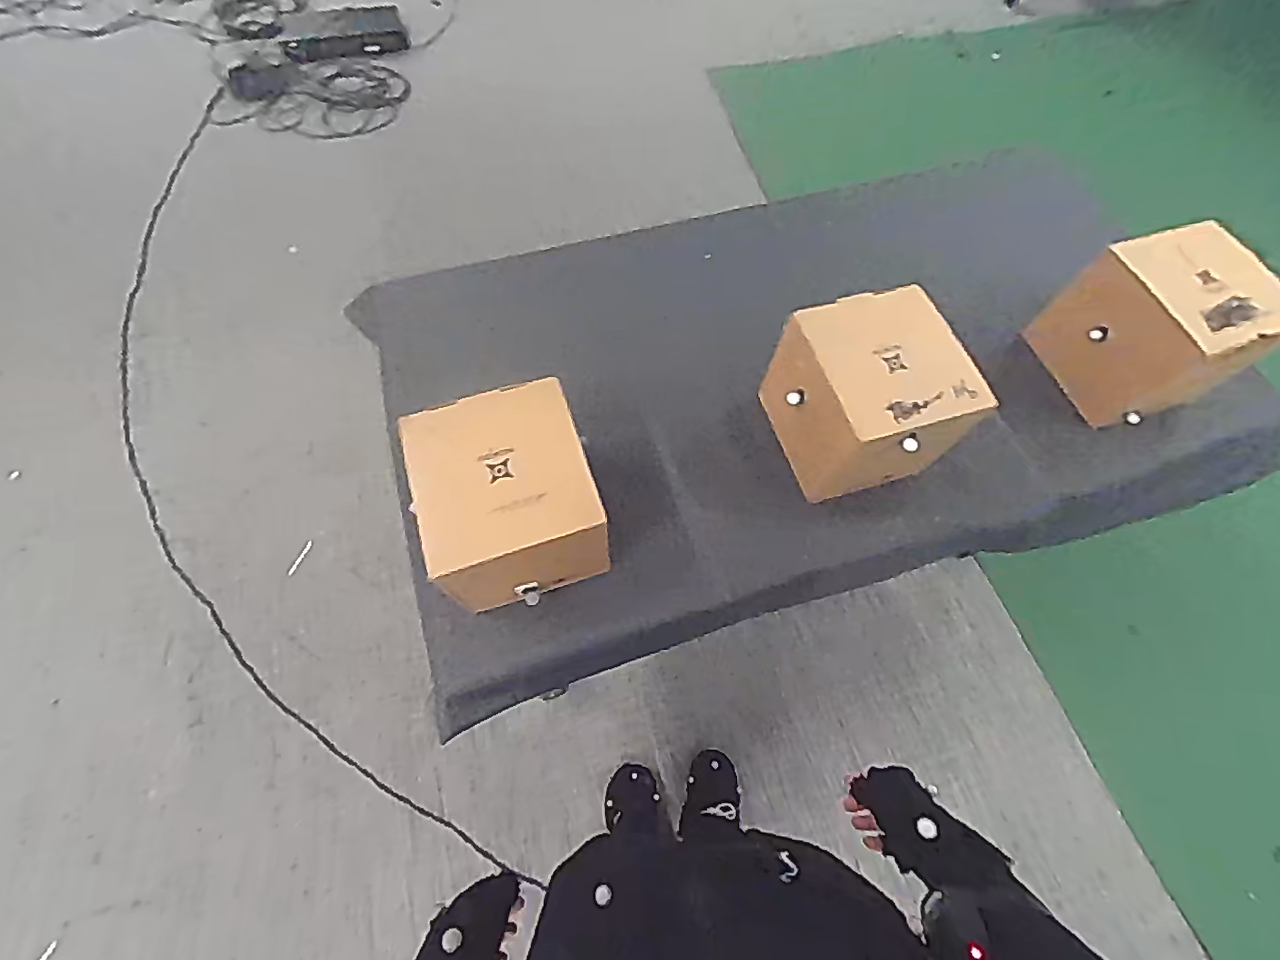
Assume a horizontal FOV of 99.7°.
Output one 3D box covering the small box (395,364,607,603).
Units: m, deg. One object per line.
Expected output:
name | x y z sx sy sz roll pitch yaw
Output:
small box | -0.137 0.011 0.571 0.168 0.176 0.179 -16 67 -7

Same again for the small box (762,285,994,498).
small box | 0.268 -0.102 0.660 0.168 0.176 0.179 -15 67 -8

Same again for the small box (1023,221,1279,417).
small box | 0.673 -0.201 0.719 0.168 0.176 0.179 -15 66 -8
